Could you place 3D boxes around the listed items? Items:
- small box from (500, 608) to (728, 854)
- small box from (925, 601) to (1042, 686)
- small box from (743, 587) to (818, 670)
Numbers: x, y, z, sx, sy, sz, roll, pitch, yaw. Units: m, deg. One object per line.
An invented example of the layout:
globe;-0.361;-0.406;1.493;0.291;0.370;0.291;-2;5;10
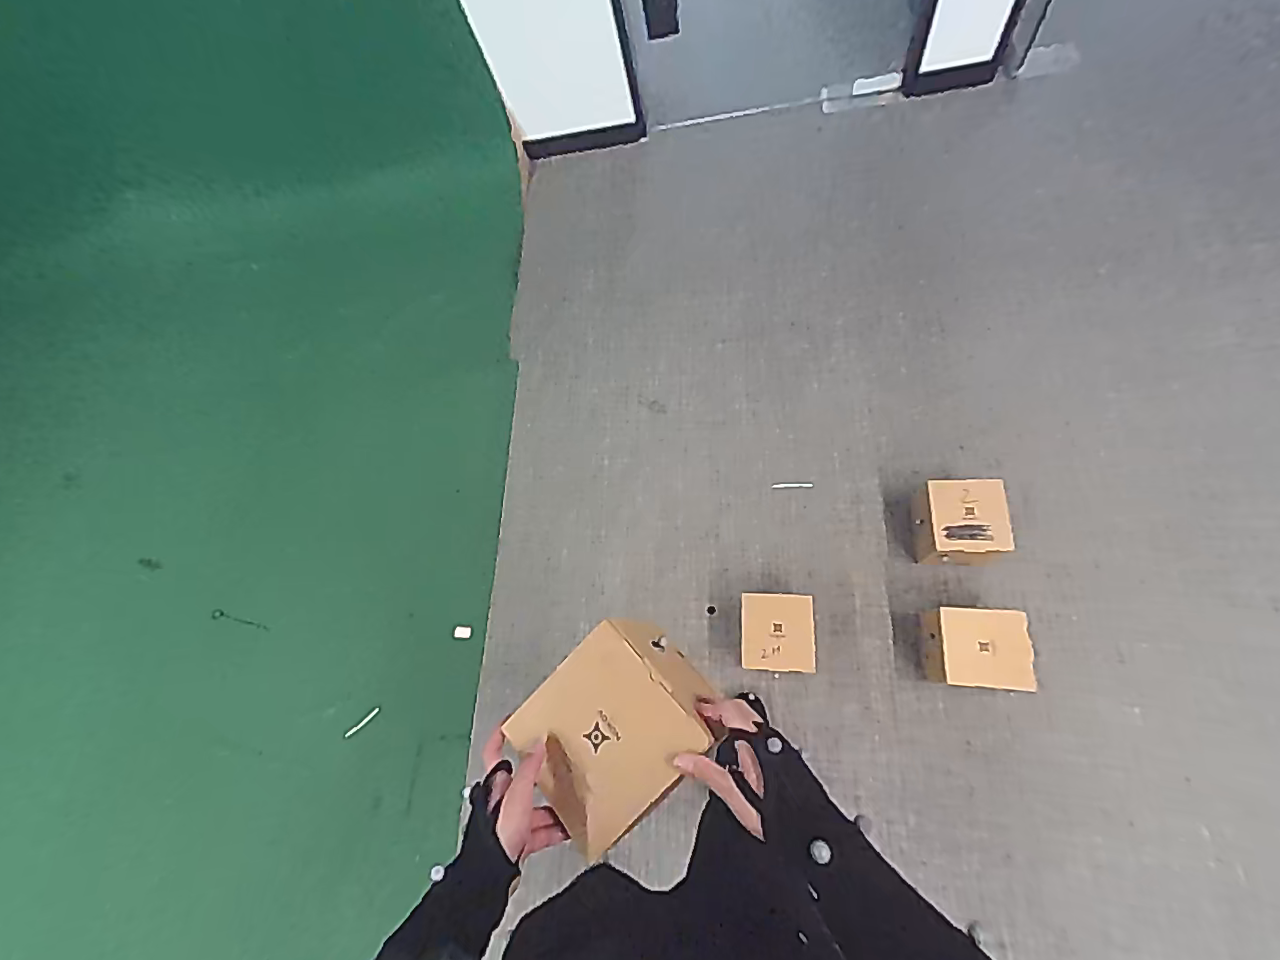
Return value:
small box;-0.017;0.268;0.621;0.179;0.176;0.168;-47;65;3
small box;0.762;0.372;1.222;0.179;0.176;0.168;1;71;12
small box;0.337;0.364;1.315;0.168;0.176;0.179;0;71;13
